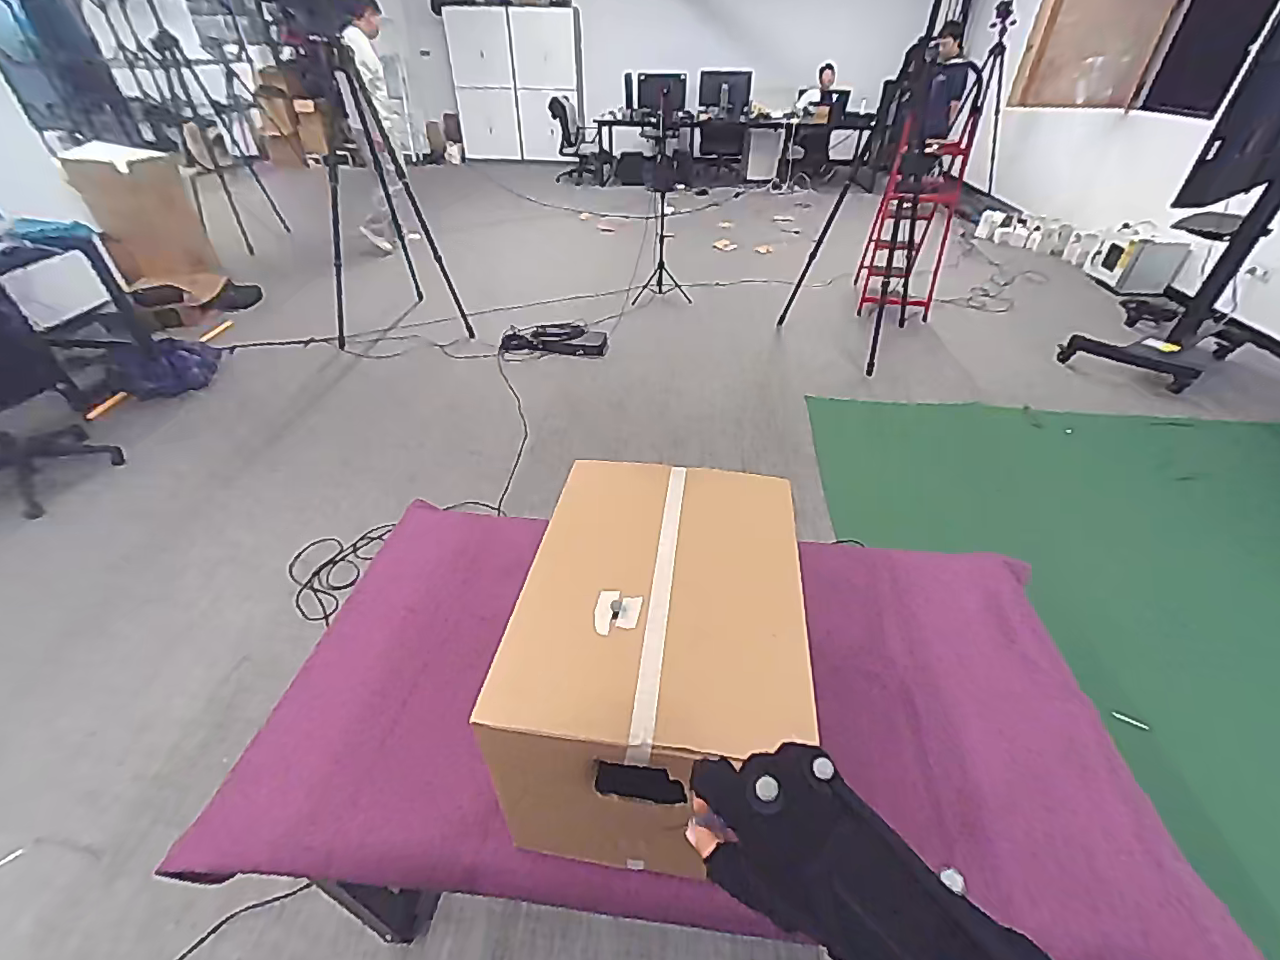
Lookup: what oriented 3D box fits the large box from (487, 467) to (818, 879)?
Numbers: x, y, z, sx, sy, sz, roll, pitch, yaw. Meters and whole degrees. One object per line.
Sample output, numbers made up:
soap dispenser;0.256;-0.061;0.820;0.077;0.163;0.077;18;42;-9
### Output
large box;0.028;0.235;0.732;0.320;0.320;0.408;6;39;6
